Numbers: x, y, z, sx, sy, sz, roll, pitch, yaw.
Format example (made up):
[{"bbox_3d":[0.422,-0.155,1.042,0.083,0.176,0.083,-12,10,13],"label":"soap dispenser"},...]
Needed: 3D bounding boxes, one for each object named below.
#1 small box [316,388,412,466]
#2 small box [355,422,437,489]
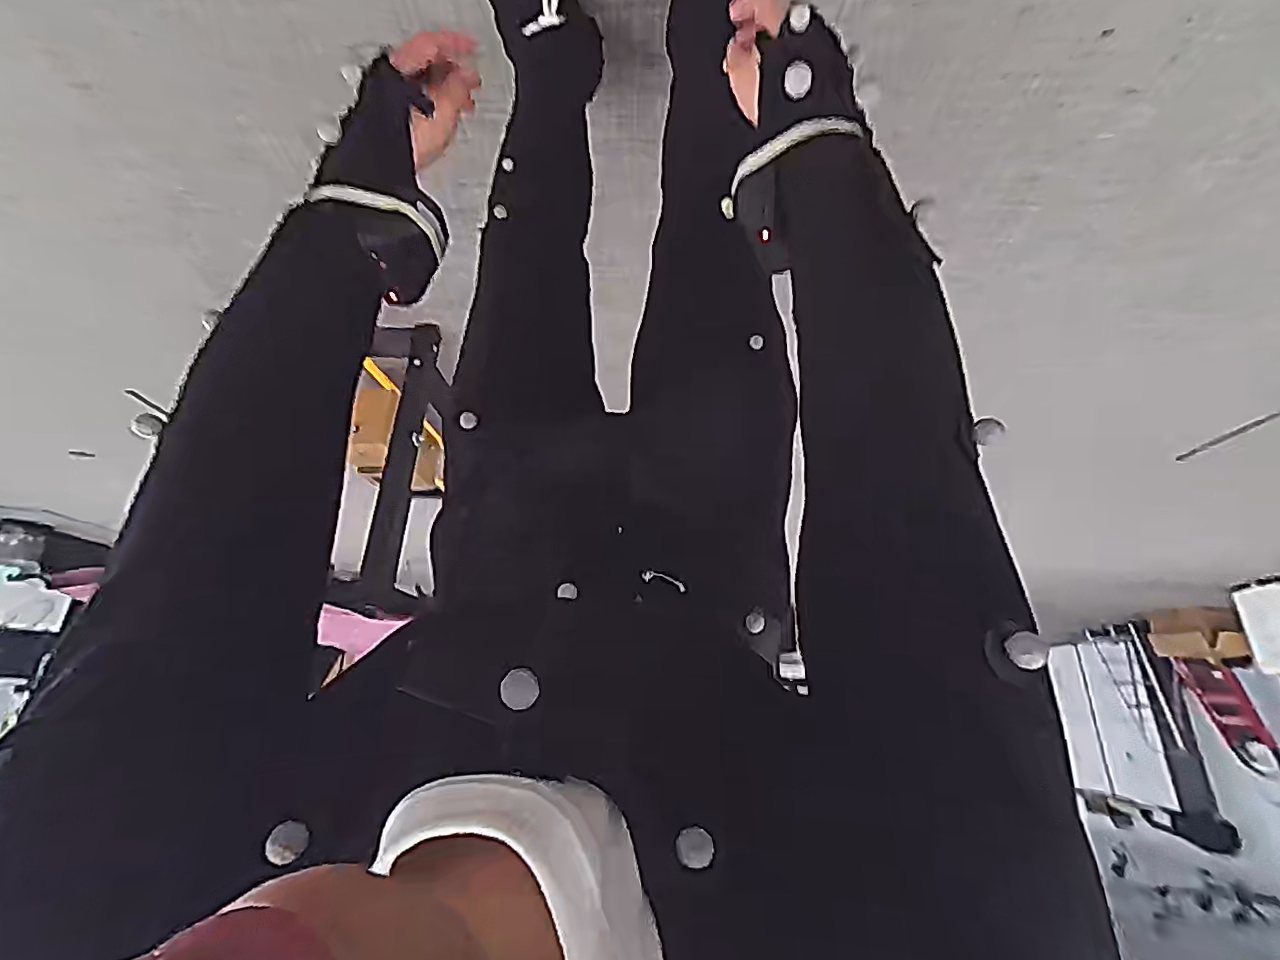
[{"bbox_3d":[-0.767,-0.149,1.523,0.179,0.176,0.168,0,160,1],"label":"small box"},{"bbox_3d":[-0.767,-0.077,1.717,0.179,0.176,0.168,-1,160,1],"label":"small box"}]
